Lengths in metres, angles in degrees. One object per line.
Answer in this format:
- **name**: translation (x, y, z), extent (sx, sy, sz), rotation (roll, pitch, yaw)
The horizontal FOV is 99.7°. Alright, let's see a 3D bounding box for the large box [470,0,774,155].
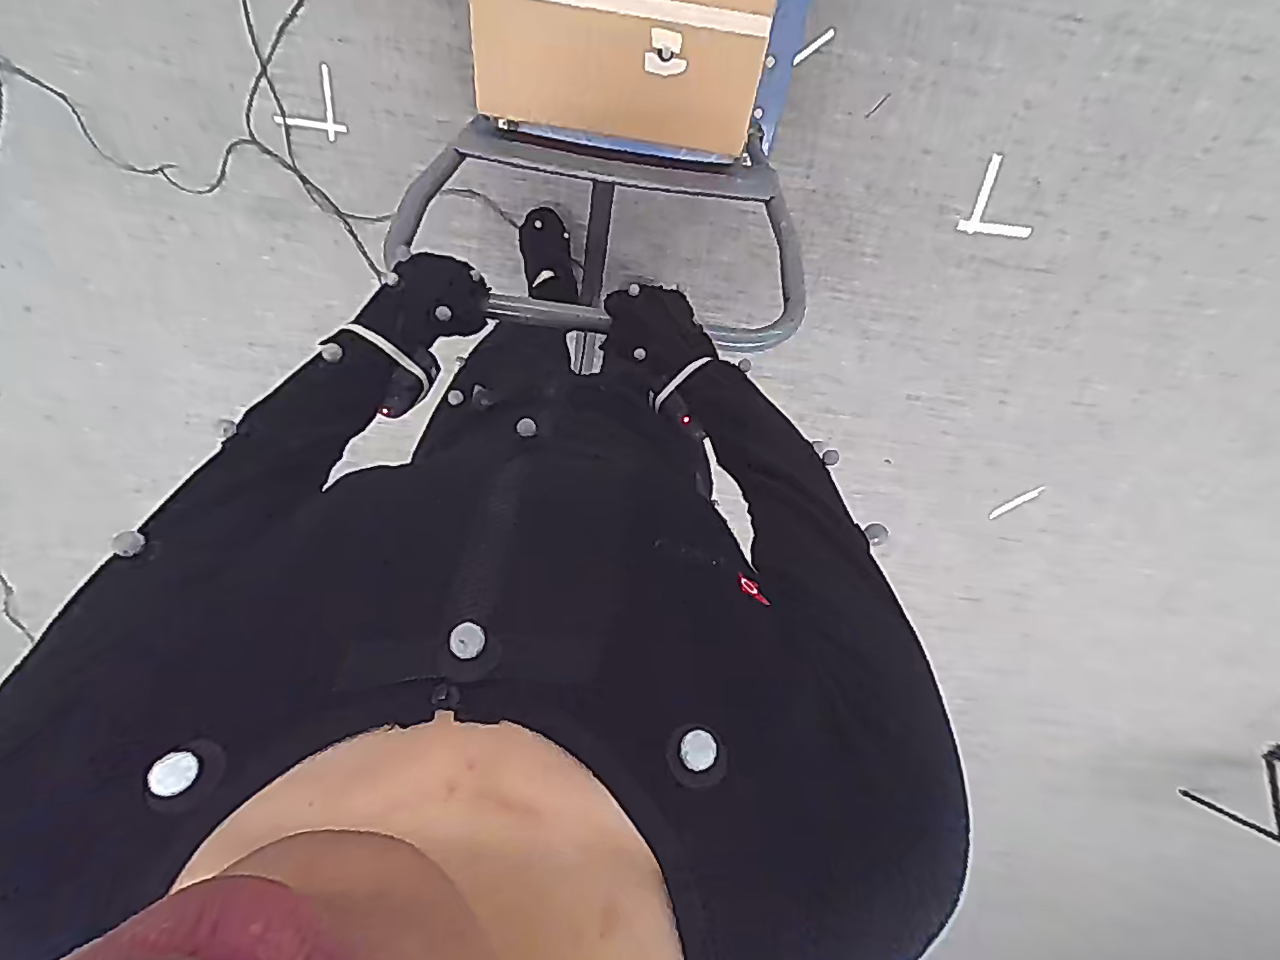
- **large box**: translation (-0.024, -0.727, 0.817), extent (0.408, 0.320, 0.320), rotation (6, 135, -4)
